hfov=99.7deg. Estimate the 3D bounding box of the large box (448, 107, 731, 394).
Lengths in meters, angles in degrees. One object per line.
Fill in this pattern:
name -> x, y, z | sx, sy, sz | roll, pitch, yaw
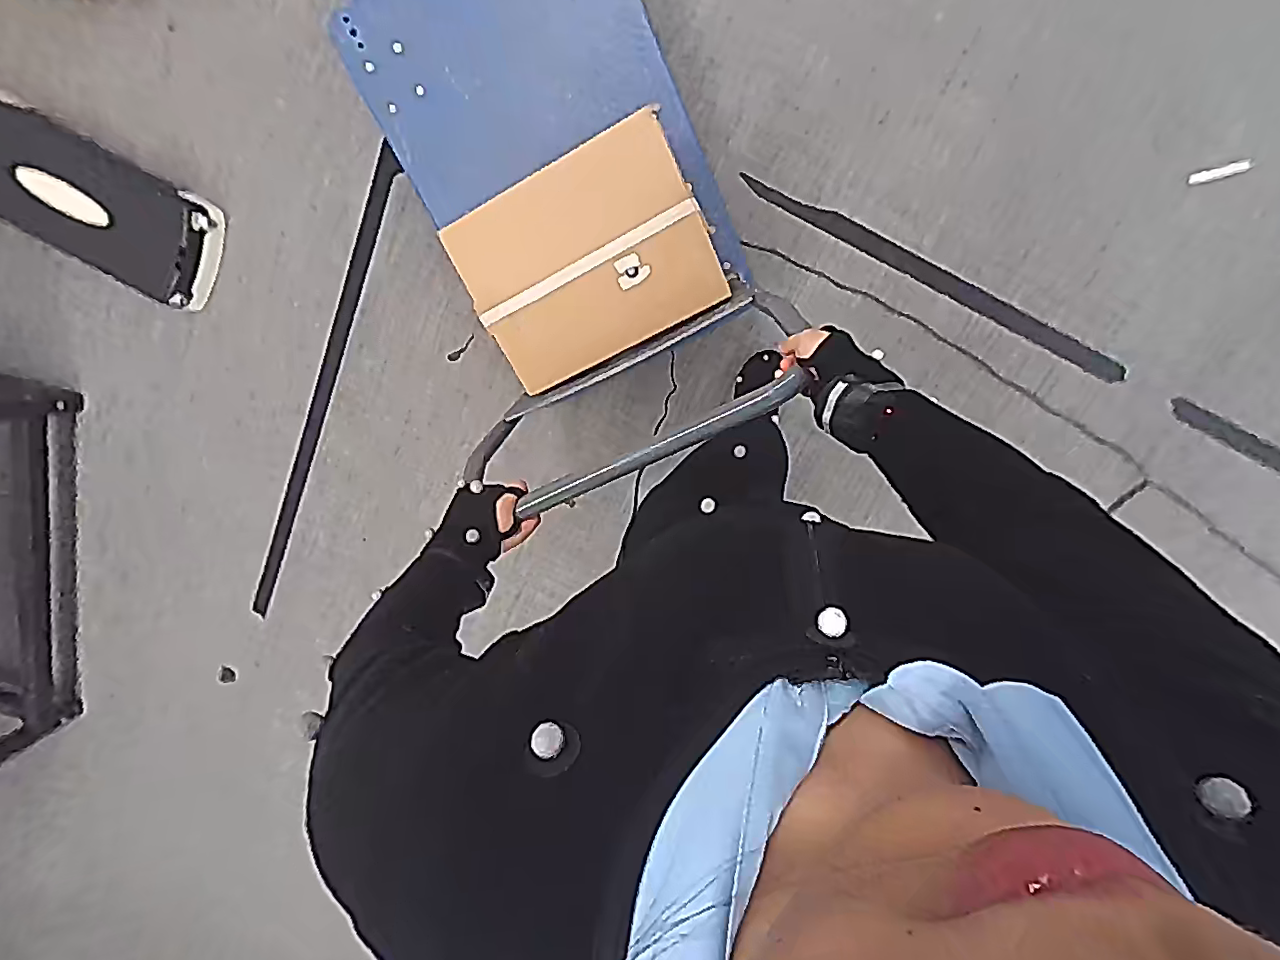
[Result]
large box -> -0.080, -0.417, 1.059 | 0.408, 0.320, 0.320 | -25, 107, 11
